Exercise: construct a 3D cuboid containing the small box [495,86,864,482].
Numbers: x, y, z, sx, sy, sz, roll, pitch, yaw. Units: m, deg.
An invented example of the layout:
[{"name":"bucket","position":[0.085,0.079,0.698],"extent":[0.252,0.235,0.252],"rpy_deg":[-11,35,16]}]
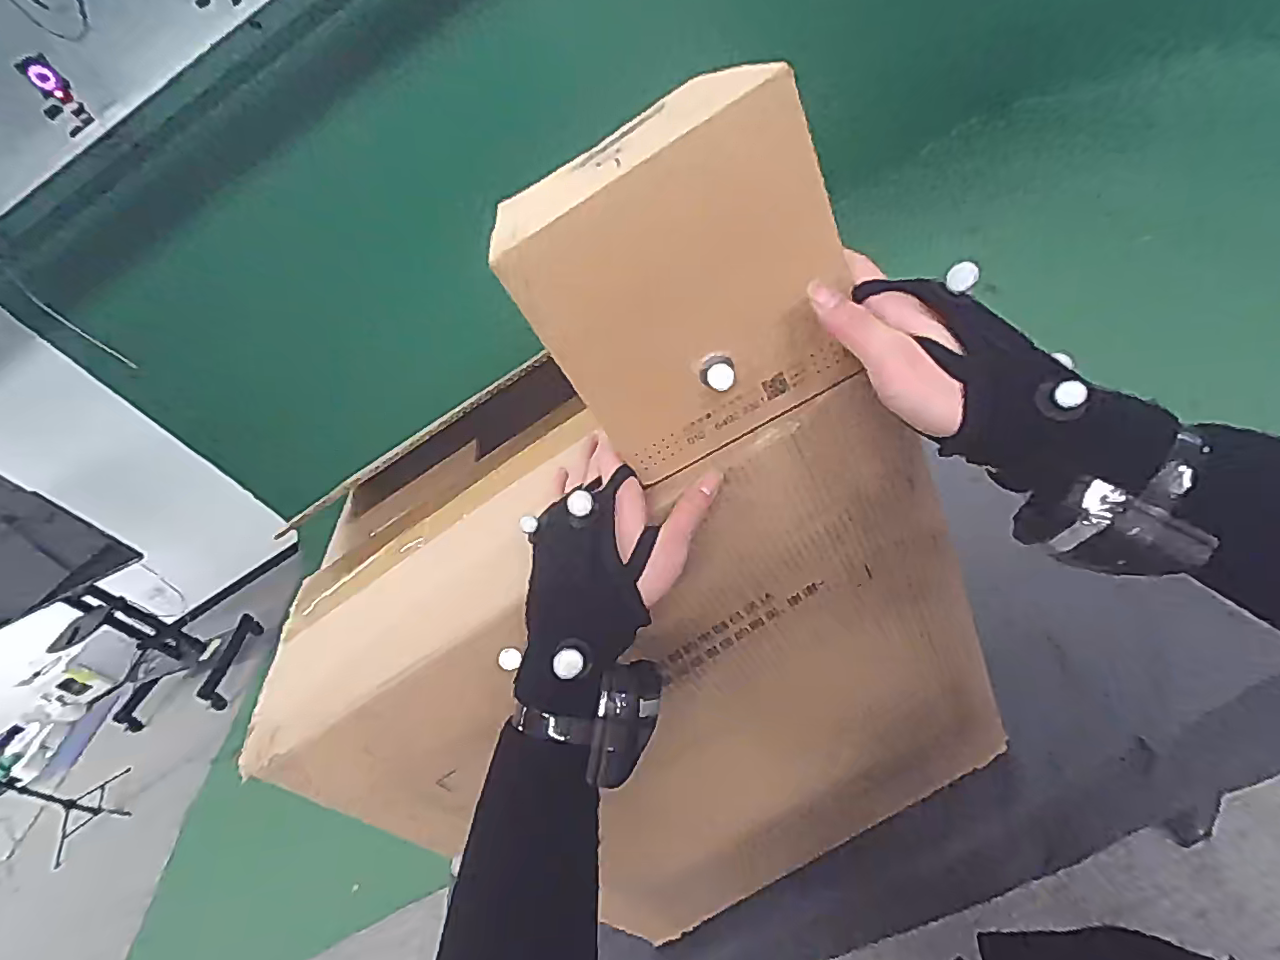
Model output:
[{"name":"small box","position":[0.024,-0.131,0.370],"extent":[0.168,0.176,0.179],"rpy_deg":[-29,35,9]}]
